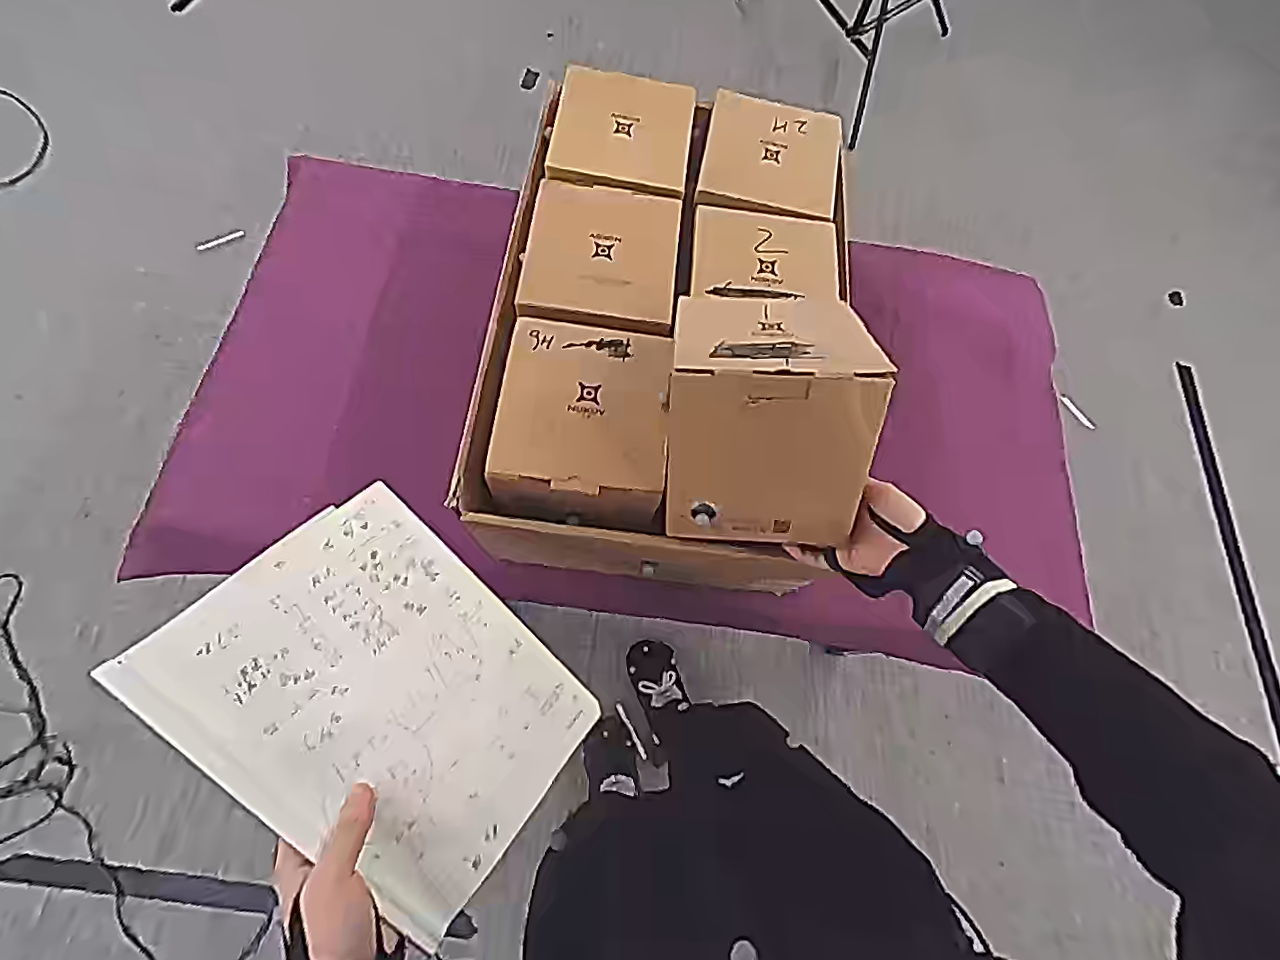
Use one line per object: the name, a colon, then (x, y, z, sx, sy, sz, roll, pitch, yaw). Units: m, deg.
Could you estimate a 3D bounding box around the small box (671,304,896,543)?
small box: (0.115, -0.057, 0.511, 0.168, 0.176, 0.179, 2, 35, 4)
